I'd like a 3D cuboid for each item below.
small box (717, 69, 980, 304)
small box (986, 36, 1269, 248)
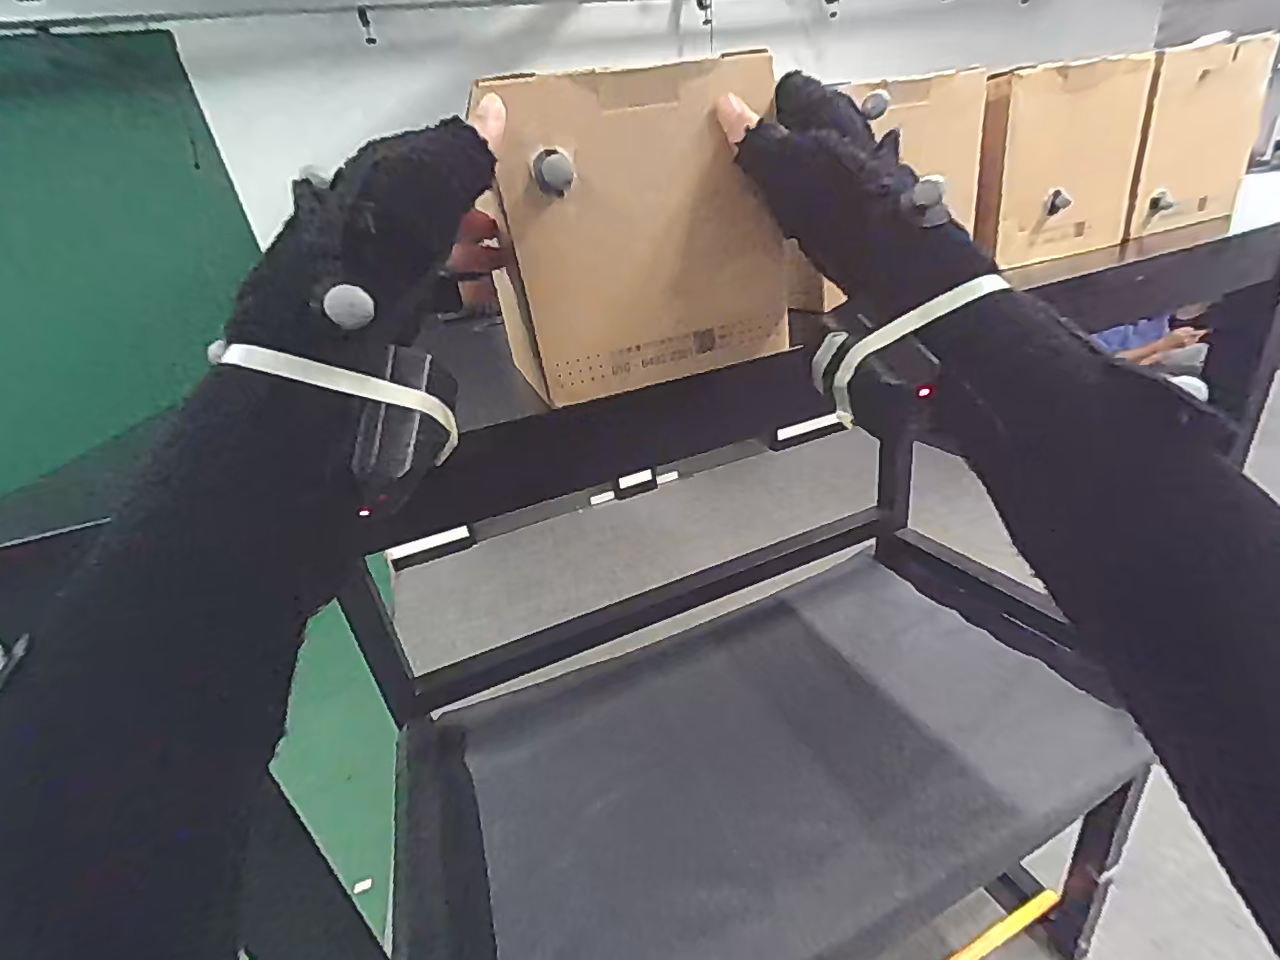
[{"bbox_3d":[0.191,-0.273,0.534,0.168,0.176,0.179,-16,24,-14],"label":"small box"},{"bbox_3d":[0.545,-0.377,0.632,0.168,0.176,0.179,-16,24,-13],"label":"small box"}]
